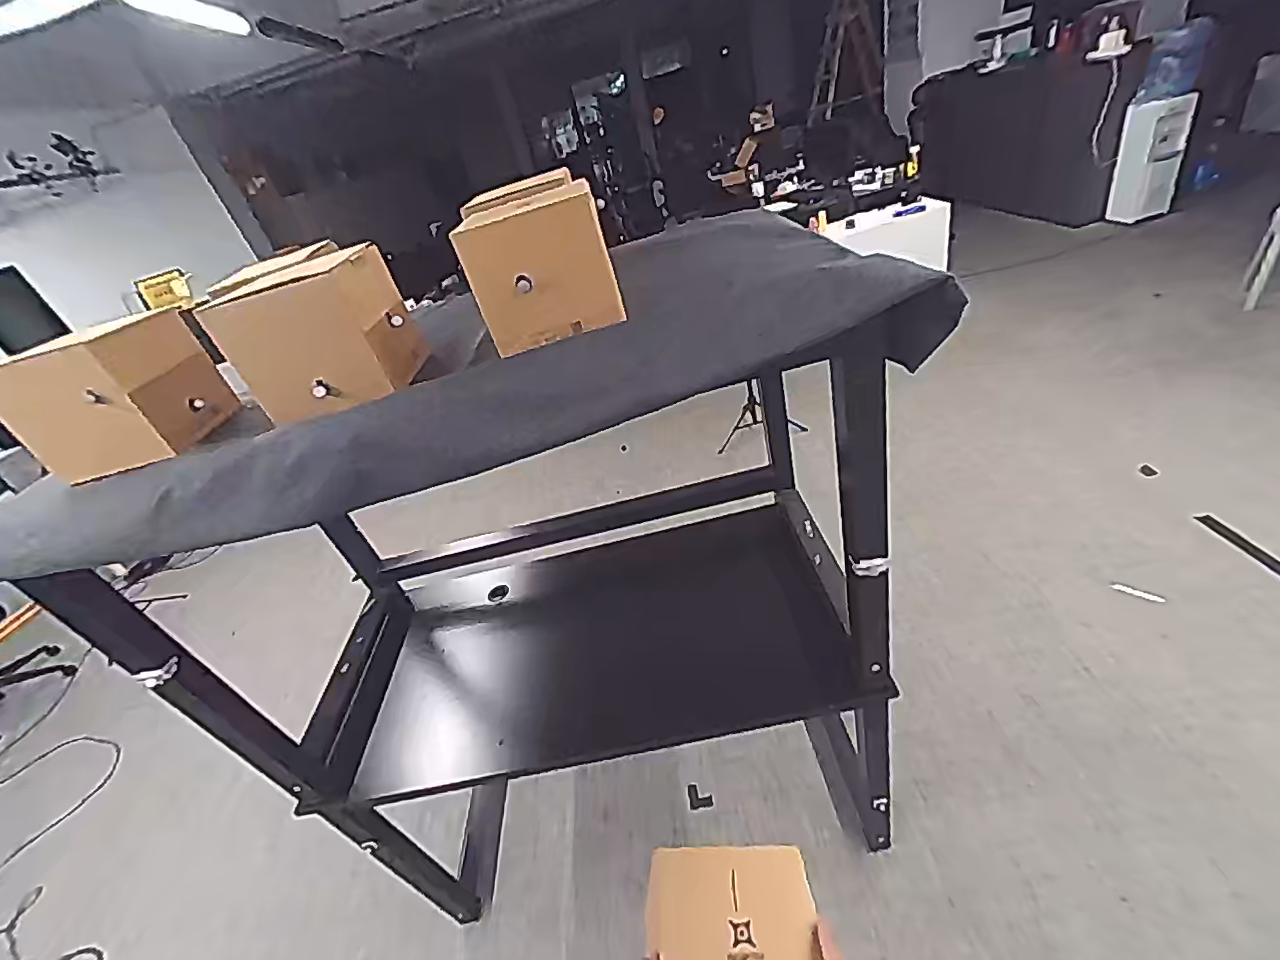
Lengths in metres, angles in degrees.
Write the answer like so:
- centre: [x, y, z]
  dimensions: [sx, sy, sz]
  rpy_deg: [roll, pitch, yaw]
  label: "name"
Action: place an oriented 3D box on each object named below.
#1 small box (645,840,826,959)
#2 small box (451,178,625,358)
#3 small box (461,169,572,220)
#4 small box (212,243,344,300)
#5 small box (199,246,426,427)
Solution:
- centre: [0.094, 0.516, 0.570]
  dimensions: [0.168, 0.176, 0.179]
  rpy_deg: [2, 31, -4]
  label: "small box"
- centre: [-0.123, -0.276, 0.714]
  dimensions: [0.168, 0.176, 0.179]
  rpy_deg: [-16, 33, 3]
  label: "small box"
- centre: [-0.184, -0.426, 0.954]
  dimensions: [0.179, 0.176, 0.168]
  rpy_deg: [-14, 35, 5]
  label: "small box"
- centre: [-0.600, -0.305, 0.975]
  dimensions: [0.168, 0.176, 0.179]
  rpy_deg: [-19, 34, 0]
  label: "small box"
- centre: [-0.421, -0.196, 0.737]
  dimensions: [0.179, 0.176, 0.168]
  rpy_deg: [-14, 33, 4]
  label: "small box"
